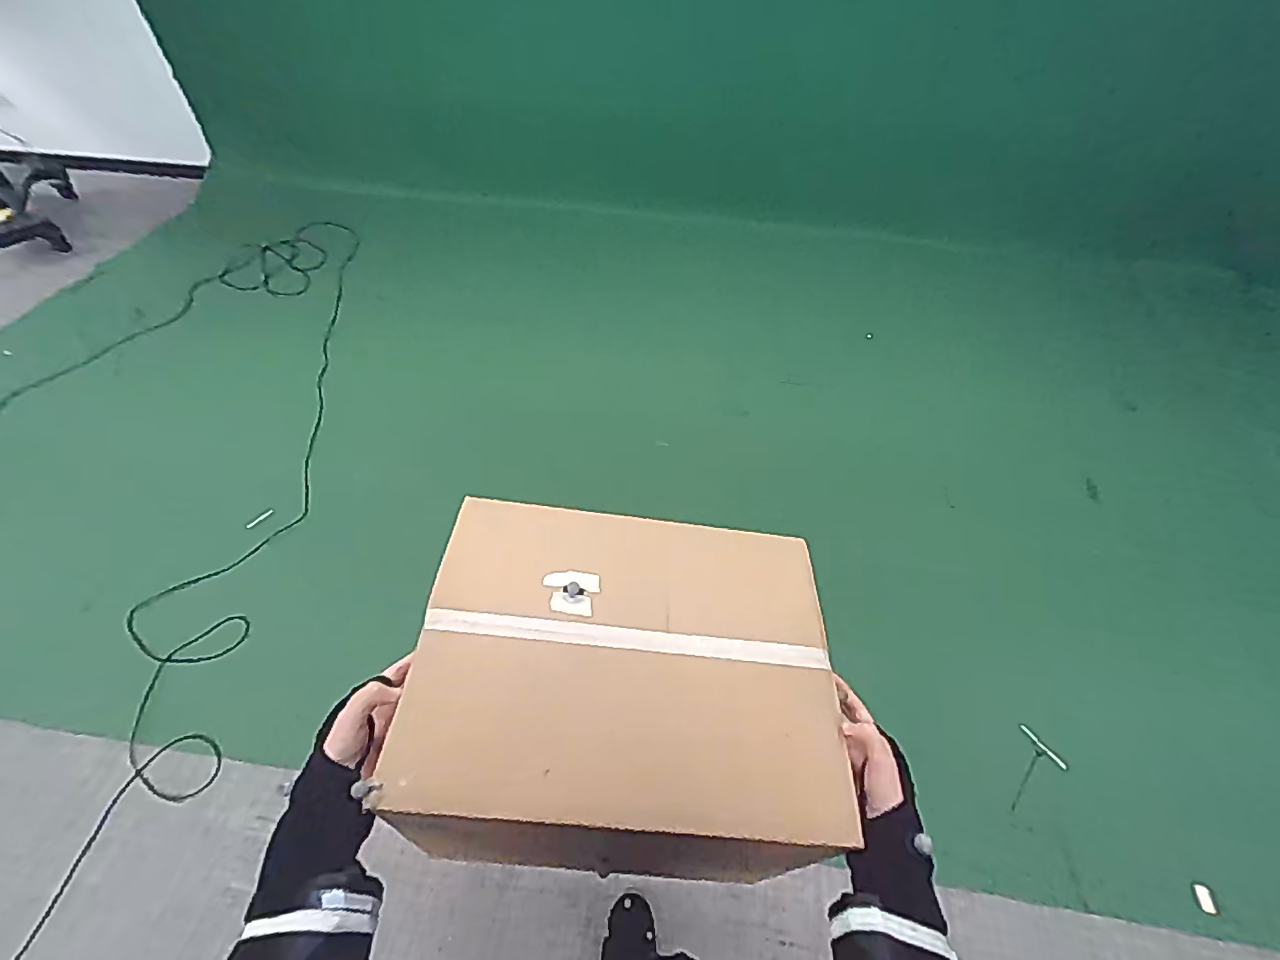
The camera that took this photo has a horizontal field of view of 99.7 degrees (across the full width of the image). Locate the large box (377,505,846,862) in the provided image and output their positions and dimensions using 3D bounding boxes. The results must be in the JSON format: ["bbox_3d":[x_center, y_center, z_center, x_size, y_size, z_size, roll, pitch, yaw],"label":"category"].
[{"bbox_3d":[-0.029,0.260,0.658,0.408,0.320,0.320,7,49,-4],"label":"large box"}]
